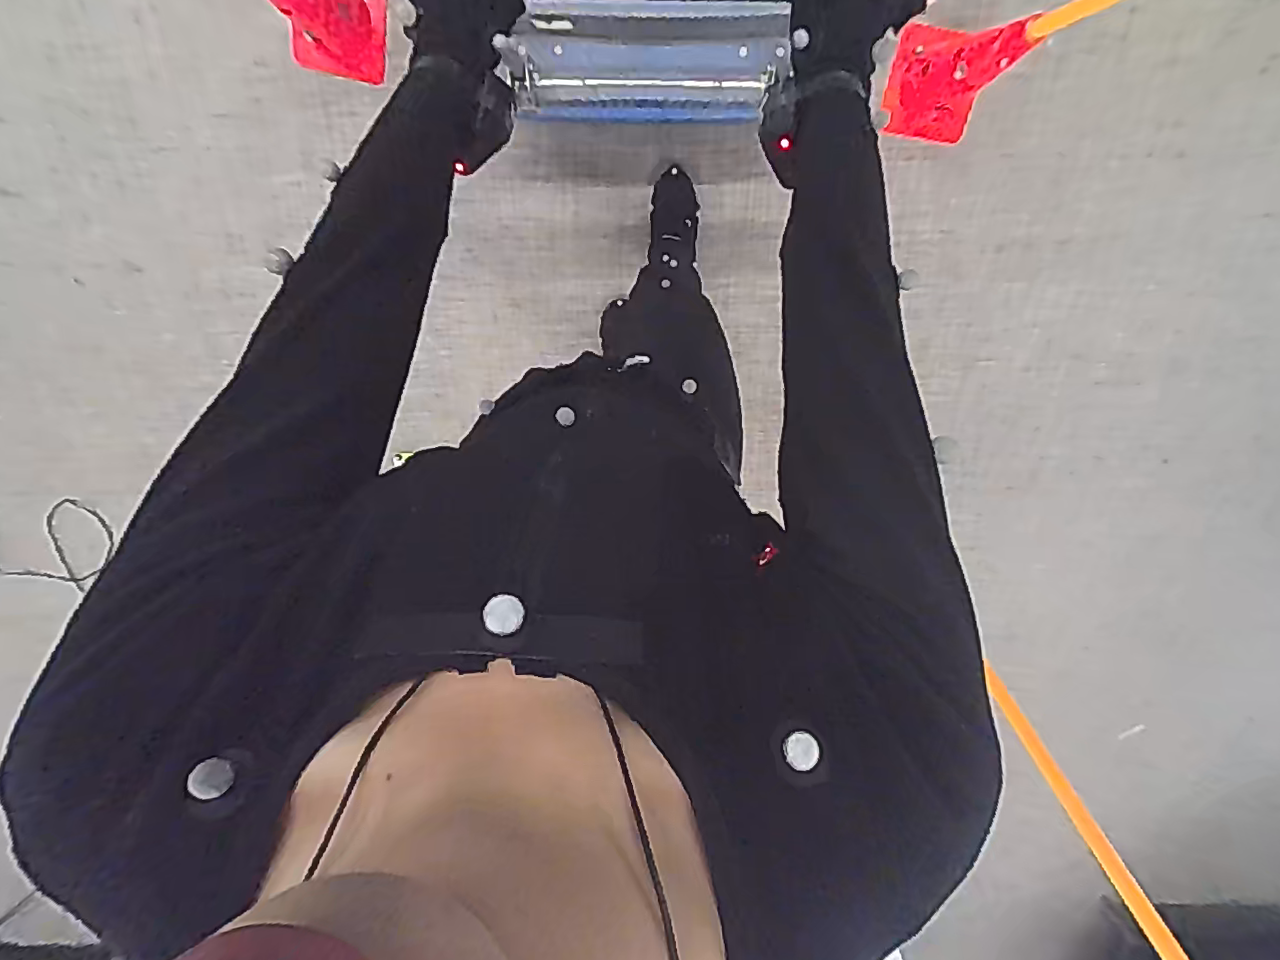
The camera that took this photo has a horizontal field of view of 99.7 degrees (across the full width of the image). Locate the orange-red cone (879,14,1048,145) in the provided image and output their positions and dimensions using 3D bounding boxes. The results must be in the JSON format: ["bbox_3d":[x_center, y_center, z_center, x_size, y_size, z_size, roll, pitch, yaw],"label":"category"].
[{"bbox_3d":[0.638,-0.790,1.023,0.198,0.360,0.199,10,114,-3],"label":"orange-red cone"}]
